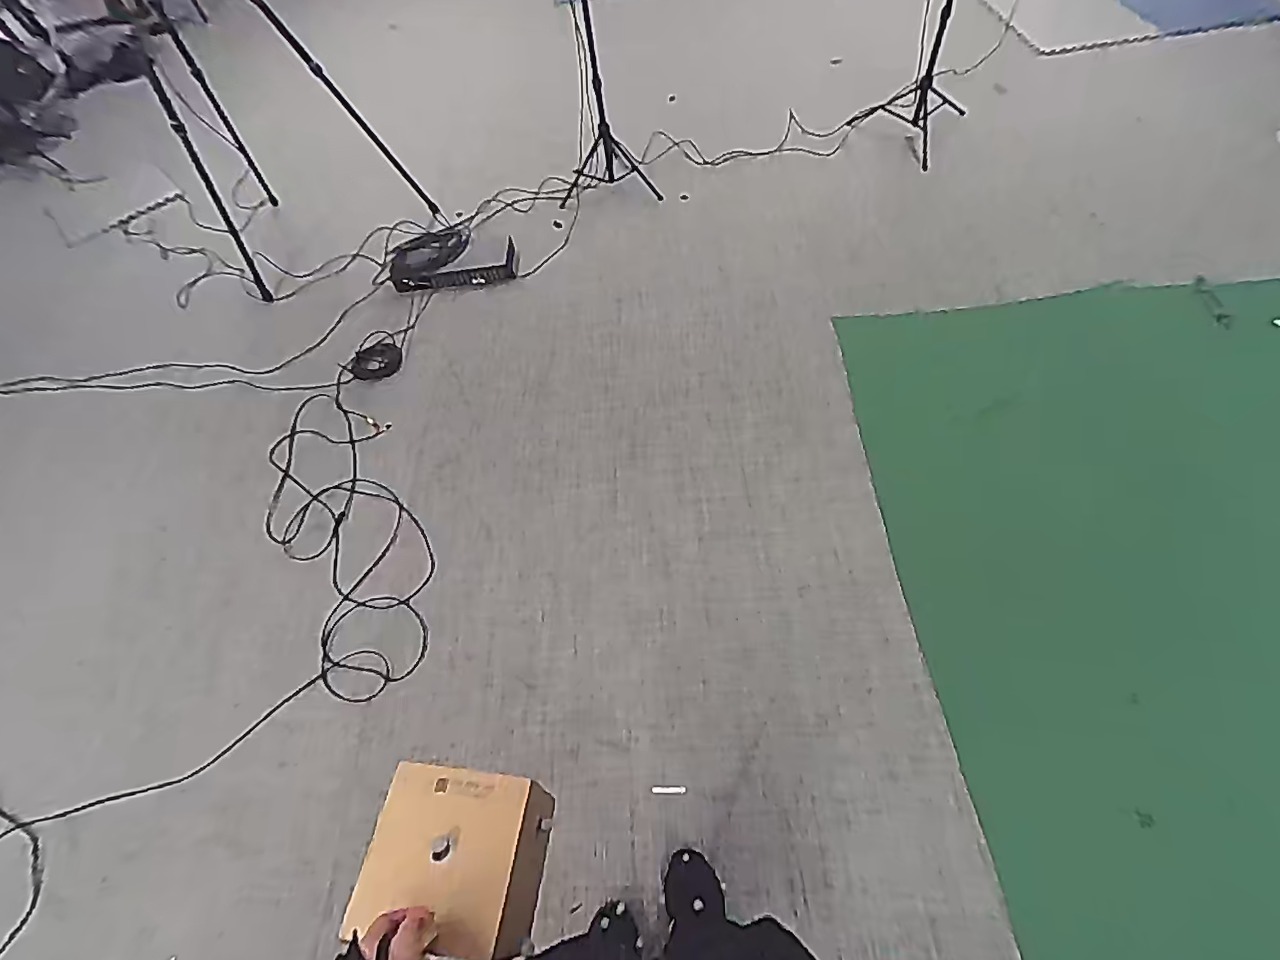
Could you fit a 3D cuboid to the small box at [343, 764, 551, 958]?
[{"bbox_3d":[-0.214,0.459,0.658,0.168,0.179,0.176,3,51,5],"label":"small box"}]
